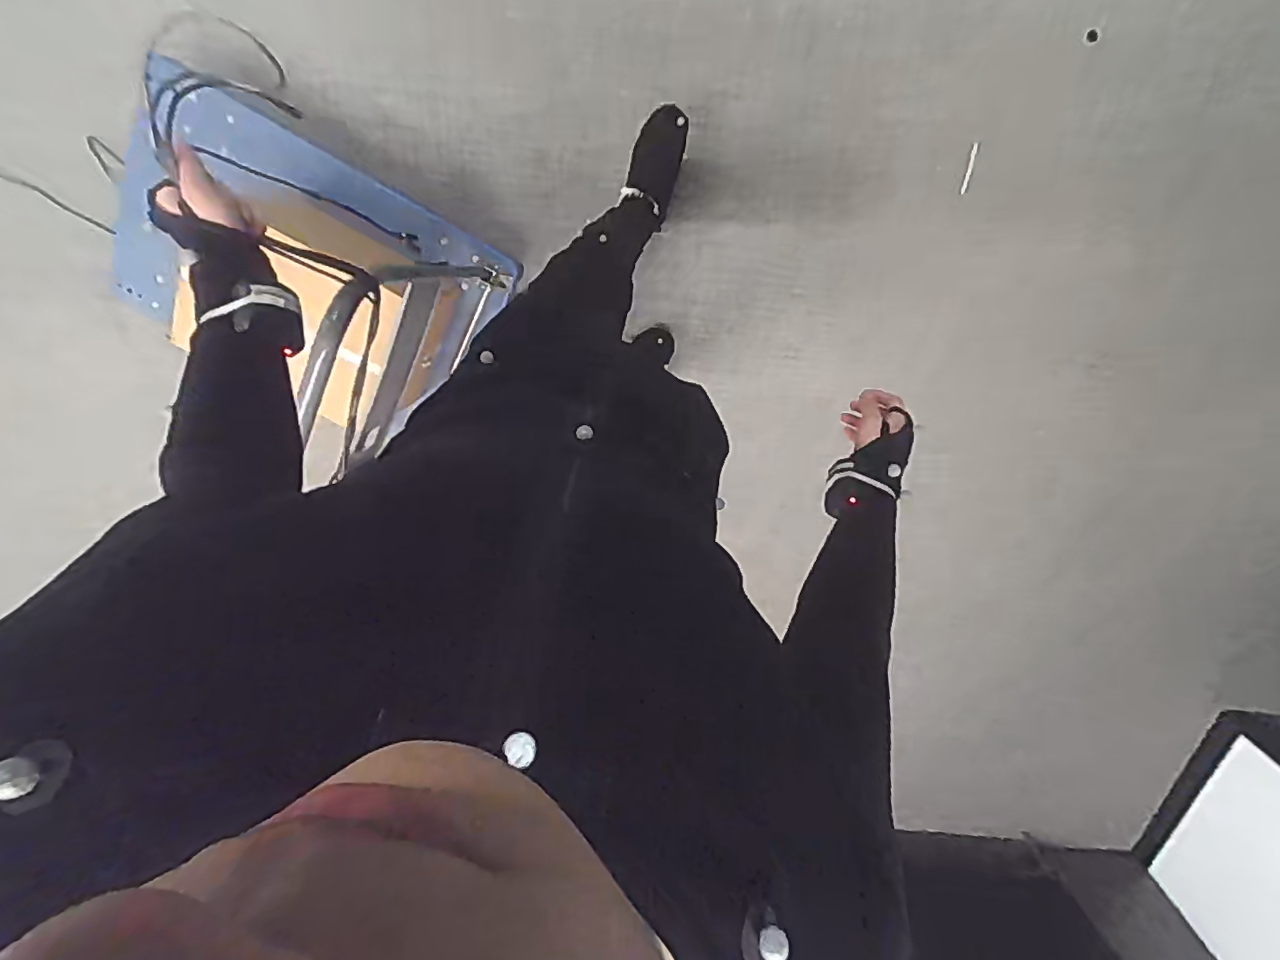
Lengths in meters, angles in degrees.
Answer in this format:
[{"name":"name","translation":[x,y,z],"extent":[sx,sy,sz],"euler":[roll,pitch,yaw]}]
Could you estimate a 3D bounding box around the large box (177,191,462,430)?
[{"name":"large box","translation":[-0.671,-0.370,1.184],"extent":[0.408,0.320,0.320],"euler":[28,112,-9]}]
